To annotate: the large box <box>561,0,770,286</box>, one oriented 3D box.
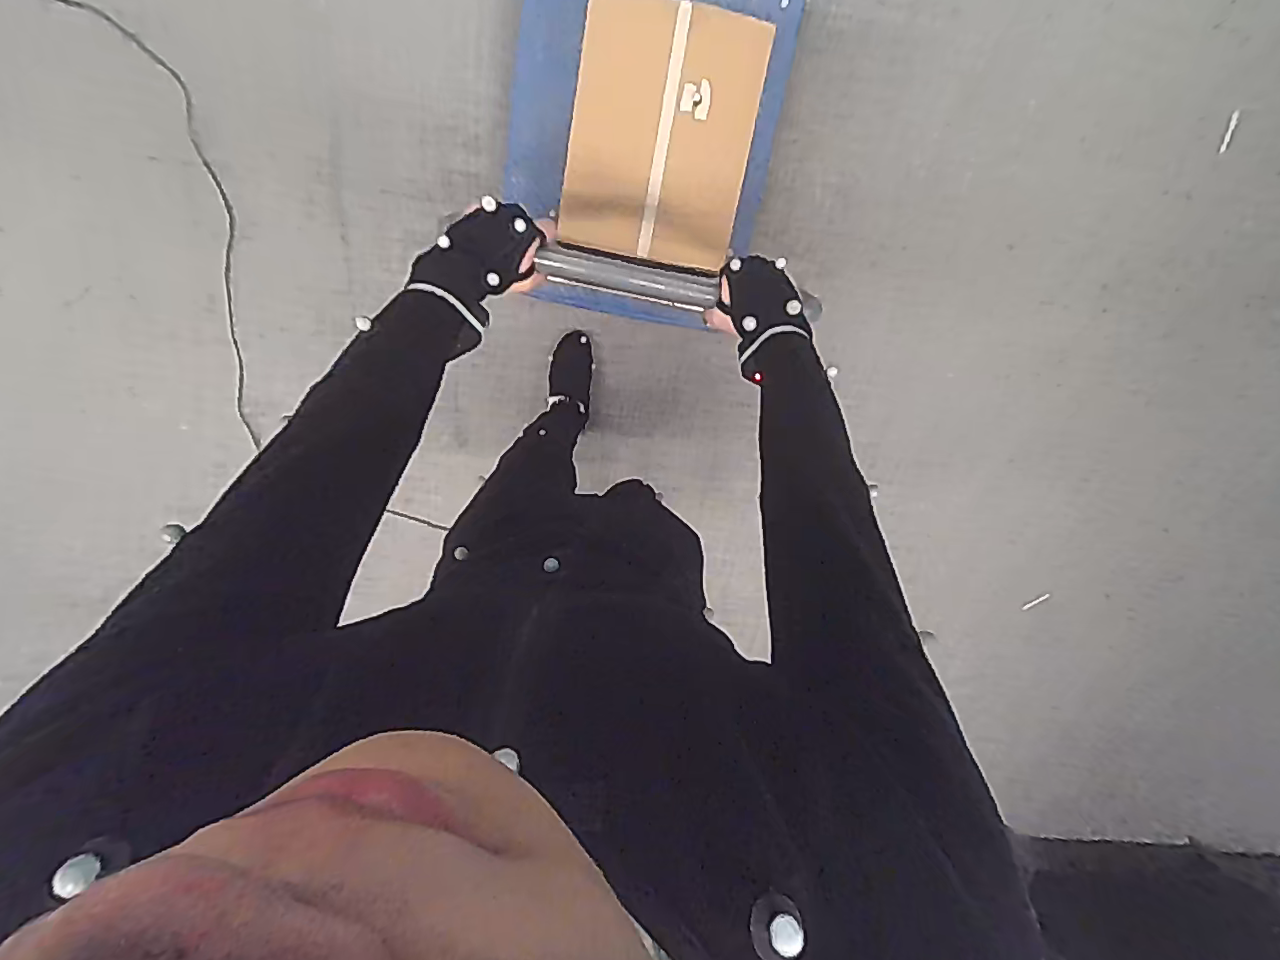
[{"bbox_3d":[0.030,-0.633,1.087,0.320,0.320,0.408,9,105,-7],"label":"large box"}]
